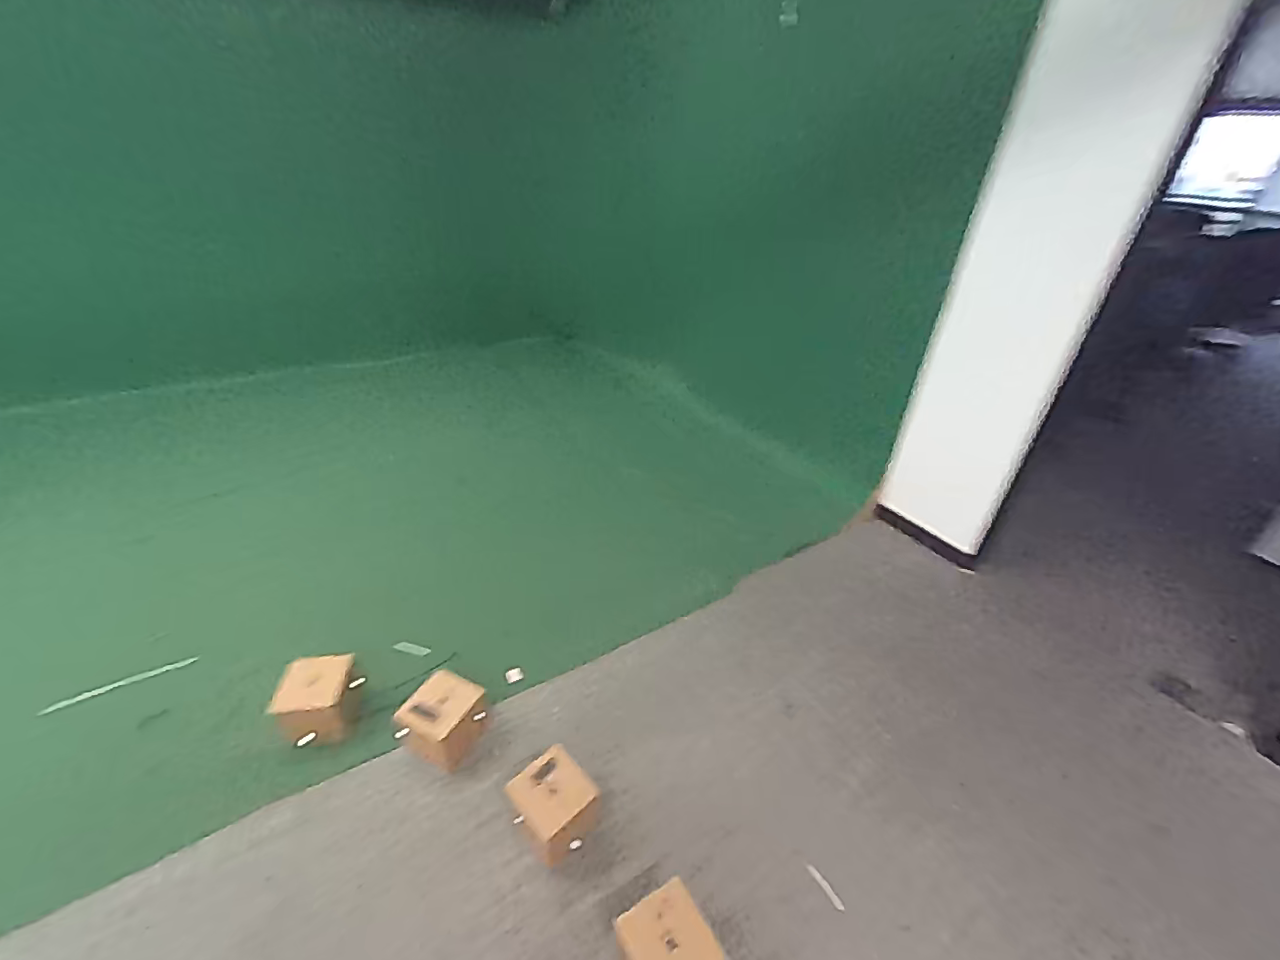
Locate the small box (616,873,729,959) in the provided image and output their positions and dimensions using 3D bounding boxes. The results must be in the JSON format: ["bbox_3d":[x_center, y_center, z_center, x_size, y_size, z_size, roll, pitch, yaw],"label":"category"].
[{"bbox_3d":[0.060,0.986,1.130,0.168,0.176,0.179,-16,37,-28],"label":"small box"}]

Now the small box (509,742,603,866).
[{"bbox_3d":[-0.212,0.818,1.367,0.168,0.176,0.179,-26,43,-37],"label":"small box"}]

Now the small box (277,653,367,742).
[{"bbox_3d":[-0.923,0.639,1.591,0.168,0.176,0.179,-2,33,-8],"label":"small box"}]
